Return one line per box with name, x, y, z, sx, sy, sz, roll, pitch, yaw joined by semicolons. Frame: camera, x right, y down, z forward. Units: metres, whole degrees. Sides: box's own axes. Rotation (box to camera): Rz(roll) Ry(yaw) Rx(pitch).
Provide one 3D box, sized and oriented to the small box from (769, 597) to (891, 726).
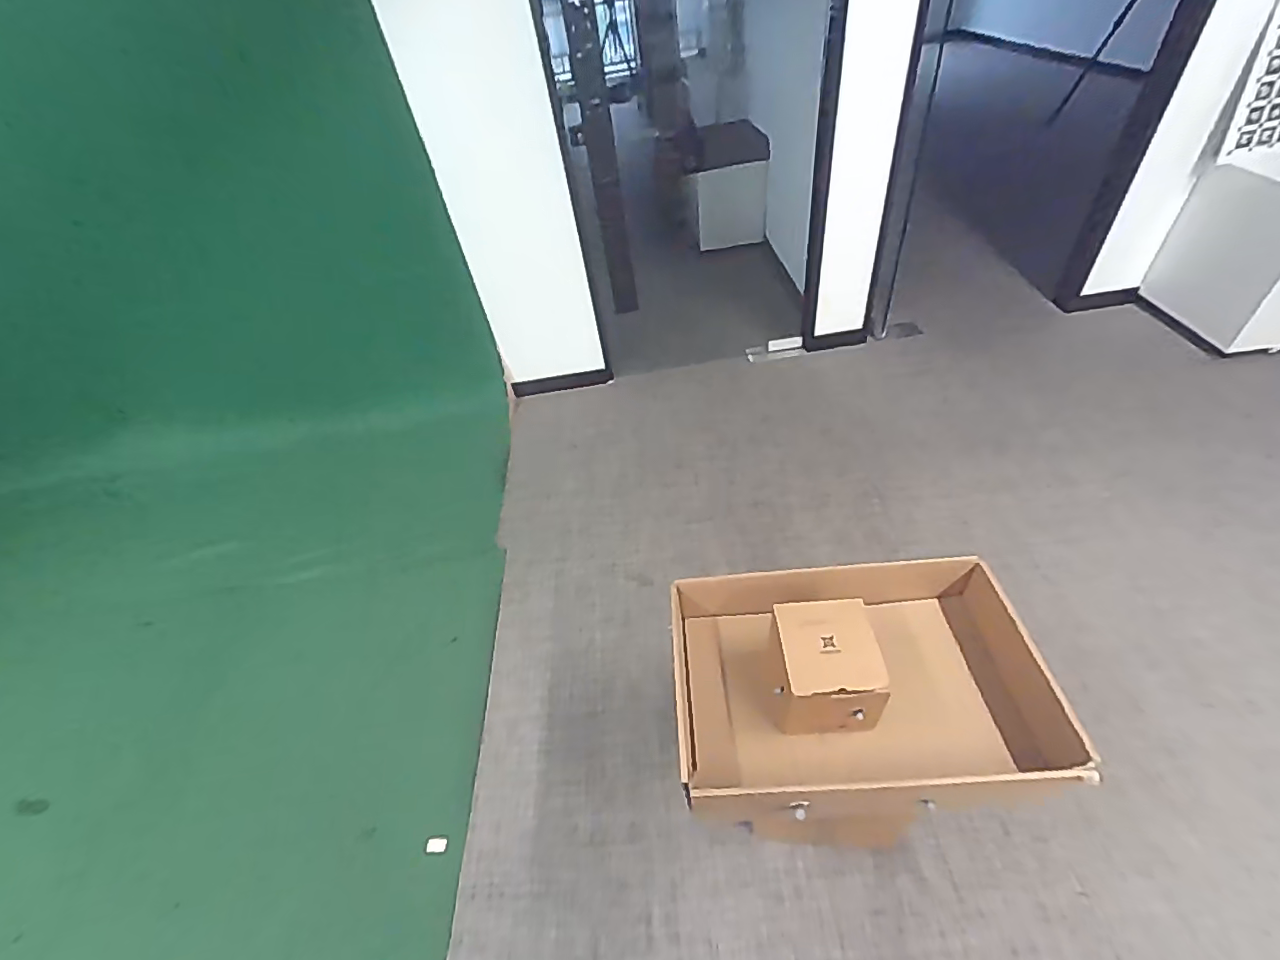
small box;0.339;0.340;1.001;0.168;0.176;0.179;-4;43;3
